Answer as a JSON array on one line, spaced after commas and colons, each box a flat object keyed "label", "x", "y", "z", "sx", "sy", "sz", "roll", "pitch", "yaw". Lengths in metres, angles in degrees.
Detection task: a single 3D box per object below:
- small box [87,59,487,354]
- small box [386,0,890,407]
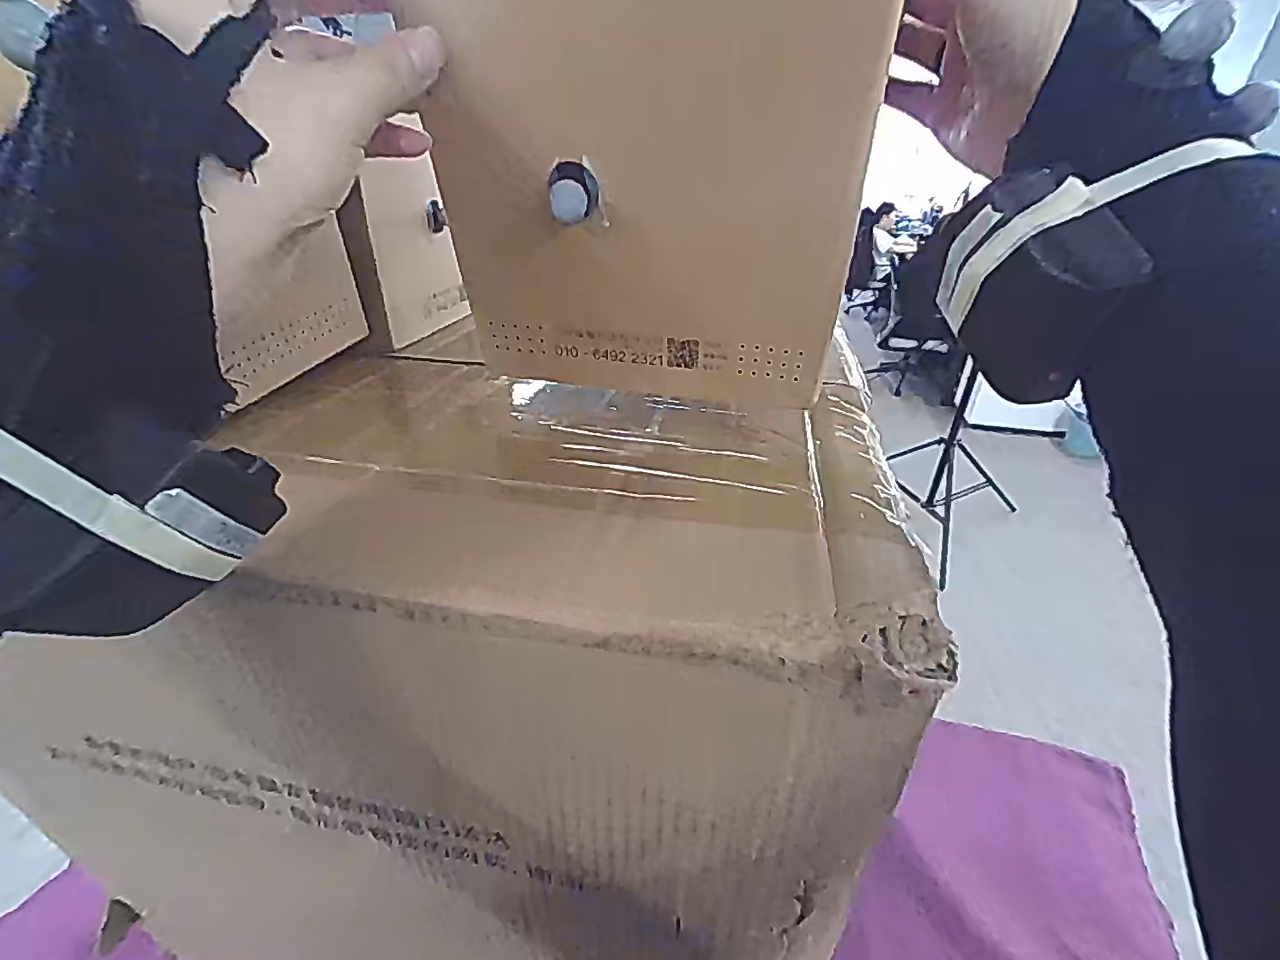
[{"label": "small box", "x": -0.230, "y": -0.202, "z": 0.413, "sx": 0.179, "sy": 0.176, "sz": 0.168, "roll": 7, "pitch": 30, "yaw": 9}, {"label": "small box", "x": 0.019, "y": -0.154, "z": 0.270, "sx": 0.168, "sy": 0.176, "sz": 0.179, "roll": 7, "pitch": 43, "yaw": 12}]
